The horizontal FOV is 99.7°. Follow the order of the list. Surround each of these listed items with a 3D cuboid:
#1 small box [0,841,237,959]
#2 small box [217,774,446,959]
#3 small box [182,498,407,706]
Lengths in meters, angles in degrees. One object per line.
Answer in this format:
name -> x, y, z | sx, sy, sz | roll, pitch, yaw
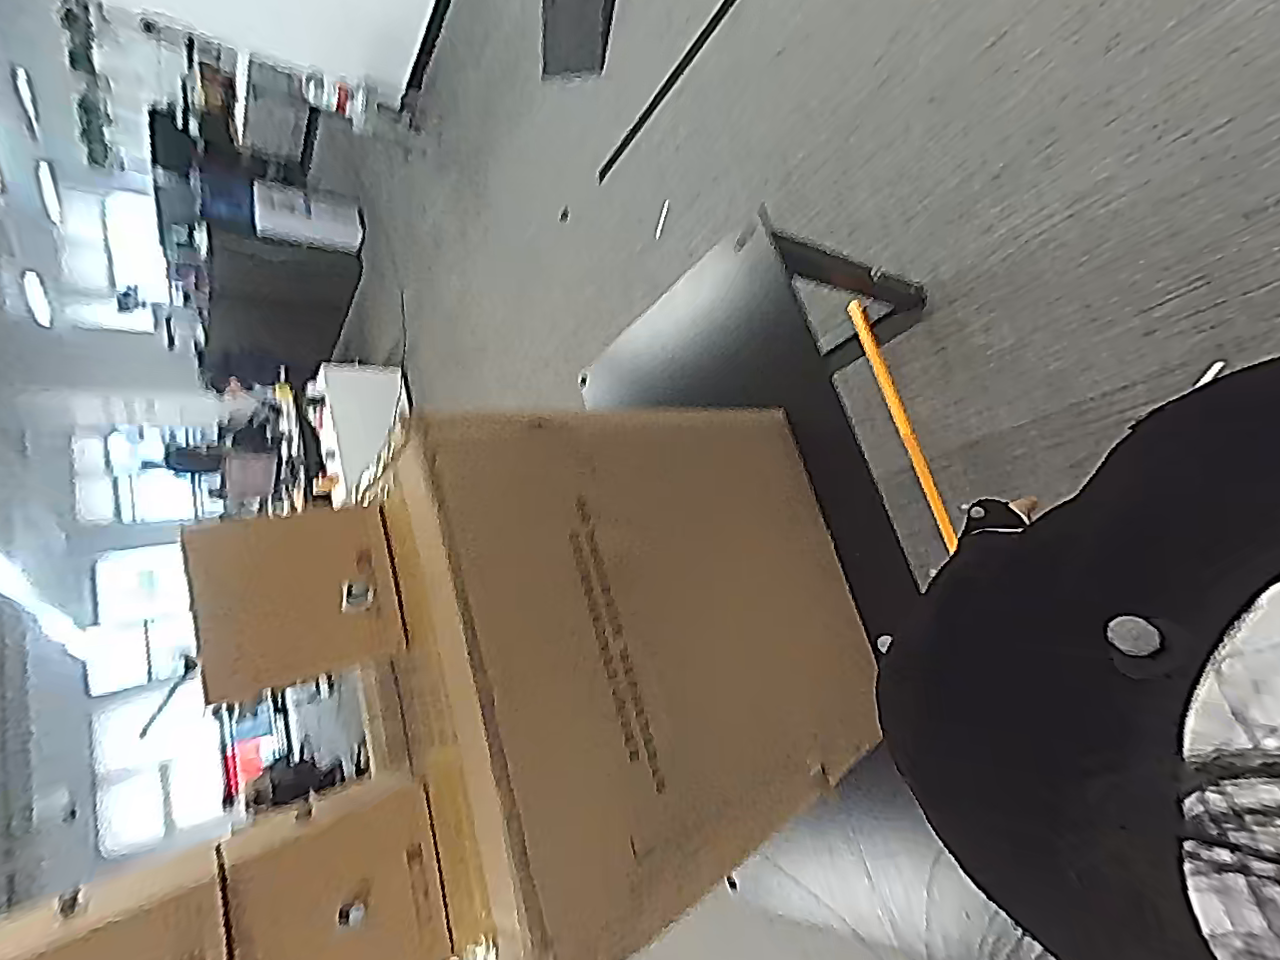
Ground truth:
small box -> -0.424, 0.418, 0.425 | 0.179, 0.176, 0.168 | -29, 72, 46
small box -> -0.308, 0.415, 0.544 | 0.179, 0.176, 0.168 | -31, 70, 46
small box -> -0.367, 0.128, 0.577 | 0.179, 0.176, 0.168 | -28, 76, 47
